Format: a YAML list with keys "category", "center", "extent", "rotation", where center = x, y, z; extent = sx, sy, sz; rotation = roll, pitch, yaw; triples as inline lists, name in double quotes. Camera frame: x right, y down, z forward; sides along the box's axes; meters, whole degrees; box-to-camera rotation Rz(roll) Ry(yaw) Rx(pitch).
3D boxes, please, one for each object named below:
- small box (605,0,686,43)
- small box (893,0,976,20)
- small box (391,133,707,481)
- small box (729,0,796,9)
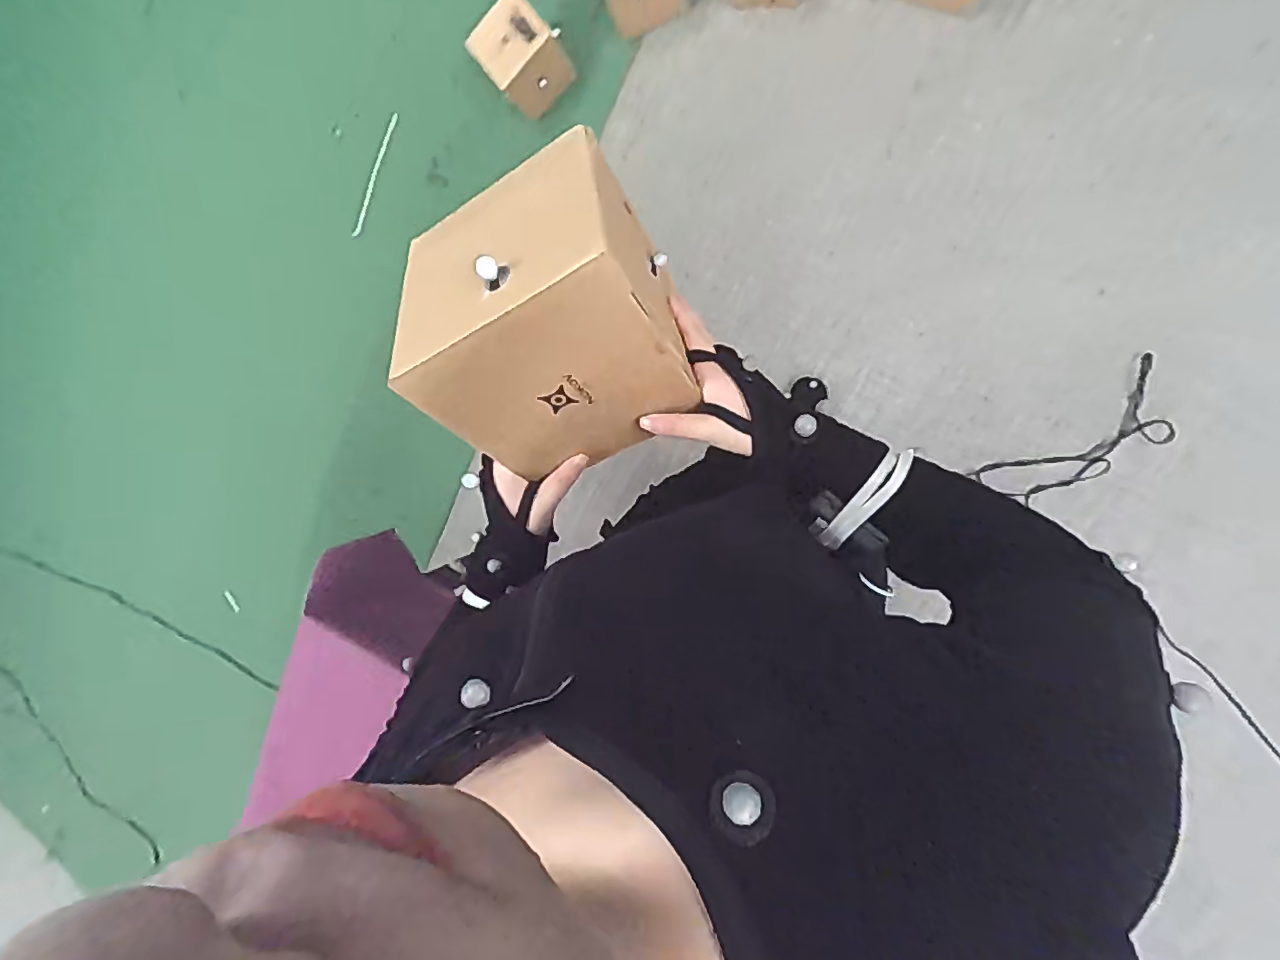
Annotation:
- category: "small box"
  center: [-0.006, -1.213, 1.296]
  extent: [0.179, 0.176, 0.168]
  rotation: [-17, 91, 16]
- category: "small box"
  center: [0.658, -1.111, 1.122]
  extent: [0.179, 0.176, 0.168]
  rotation: [27, 102, 11]
- category: "small box"
  center: [-0.066, -0.131, 0.441]
  extent: [0.179, 0.168, 0.176]
  rotation: [-22, 54, 17]
- category: "small box"
  center: [0.283, -1.206, 1.217]
  extent: [0.168, 0.176, 0.179]
  rotation: [11, 99, 14]
